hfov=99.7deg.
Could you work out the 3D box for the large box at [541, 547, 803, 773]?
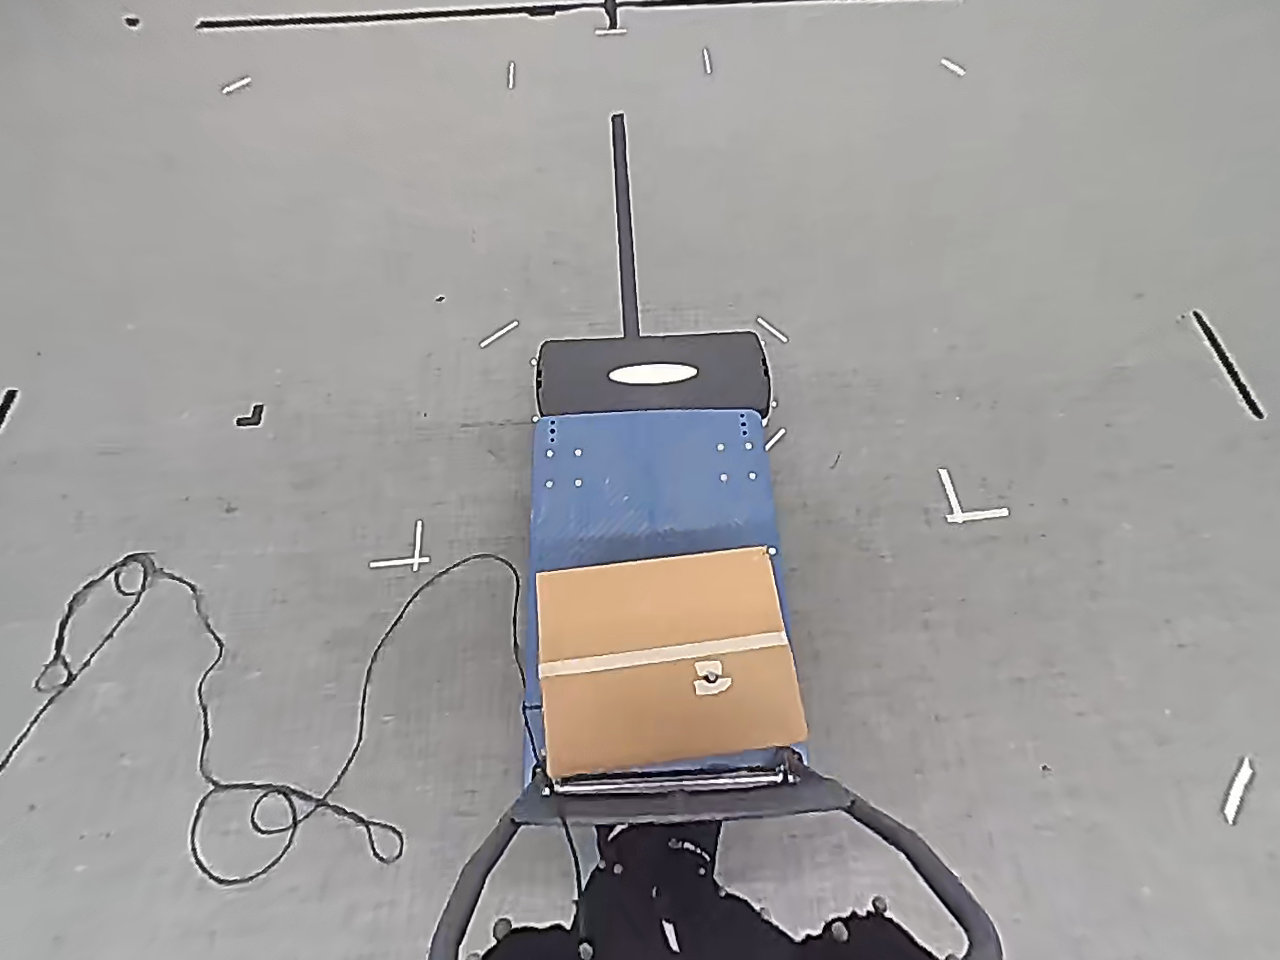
[{"bbox_3d":[0.040,0.339,1.034,0.408,0.320,0.320,-7,70,-4],"label":"large box"}]
